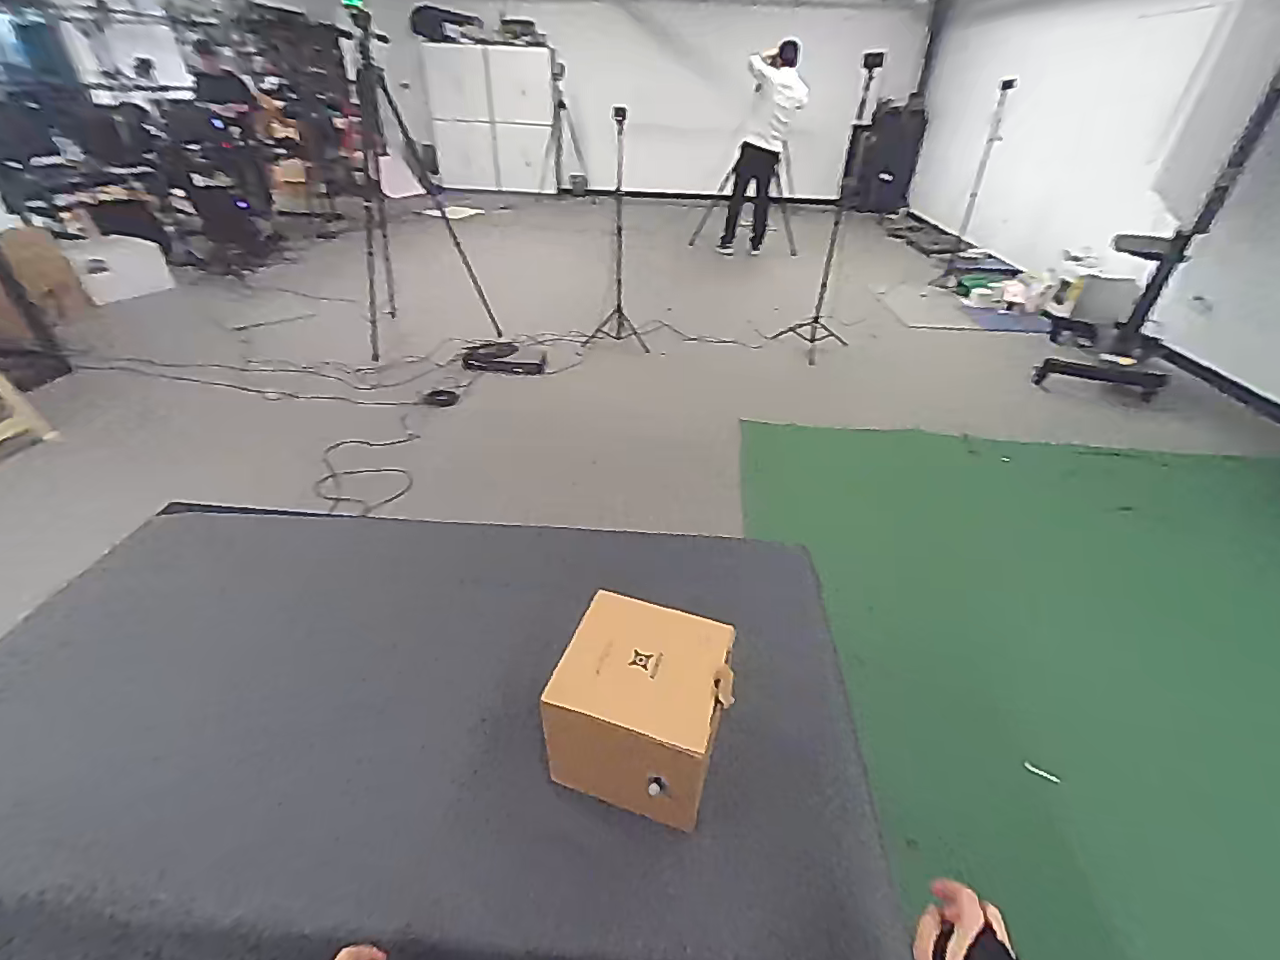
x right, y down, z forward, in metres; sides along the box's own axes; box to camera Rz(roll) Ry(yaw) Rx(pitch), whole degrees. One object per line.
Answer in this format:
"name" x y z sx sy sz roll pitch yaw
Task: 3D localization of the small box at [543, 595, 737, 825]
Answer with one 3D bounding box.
"small box" 0.006 0.270 0.639 0.179 0.176 0.168 11 35 14
